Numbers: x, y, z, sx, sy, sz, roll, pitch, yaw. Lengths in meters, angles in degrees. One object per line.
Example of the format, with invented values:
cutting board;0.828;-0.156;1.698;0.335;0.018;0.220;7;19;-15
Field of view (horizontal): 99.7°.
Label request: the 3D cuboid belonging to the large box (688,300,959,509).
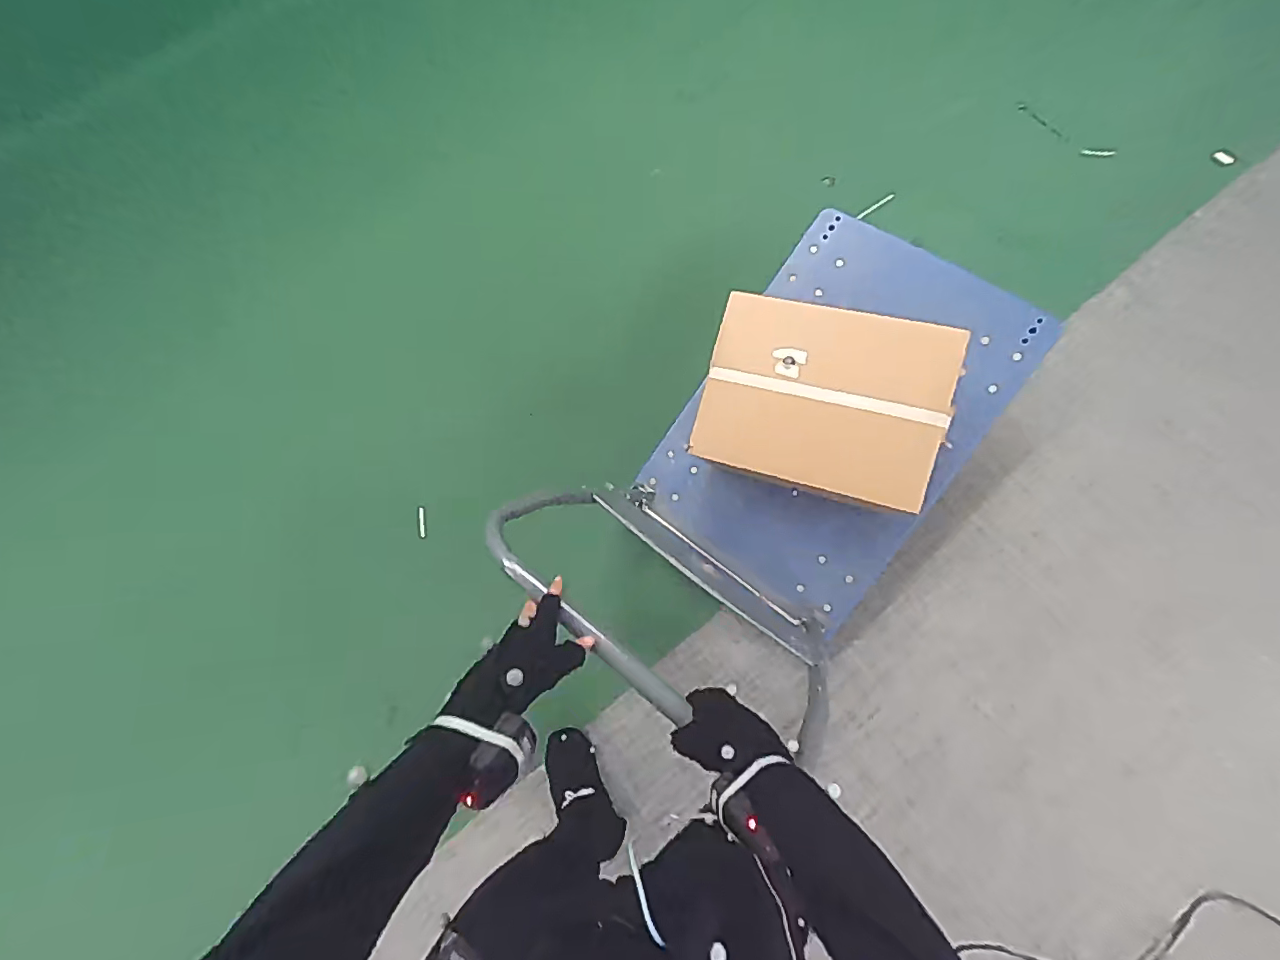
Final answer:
large box;0.356;-0.136;1.096;0.408;0.320;0.320;16;90;18
